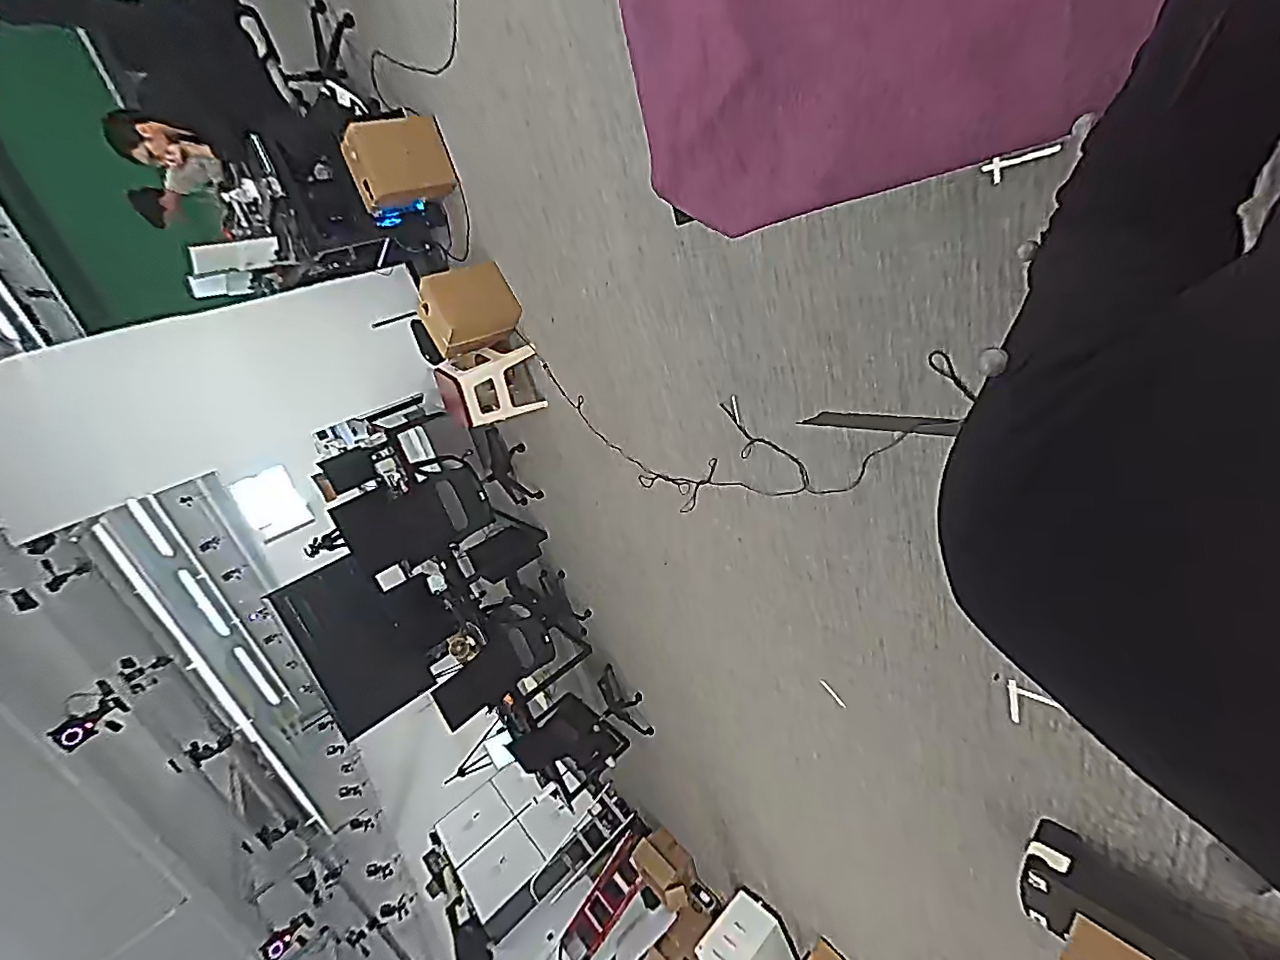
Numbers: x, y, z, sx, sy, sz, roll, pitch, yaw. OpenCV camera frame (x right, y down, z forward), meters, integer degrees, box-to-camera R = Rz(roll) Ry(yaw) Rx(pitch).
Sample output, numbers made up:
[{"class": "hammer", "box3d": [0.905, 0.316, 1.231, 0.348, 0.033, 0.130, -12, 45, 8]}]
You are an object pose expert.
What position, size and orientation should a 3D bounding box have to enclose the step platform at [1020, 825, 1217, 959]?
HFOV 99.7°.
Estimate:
[{"class": "step platform", "box3d": [1.512, 1.349, 1.555, 0.684, 0.204, 0.286, 12, 126, 50]}]
